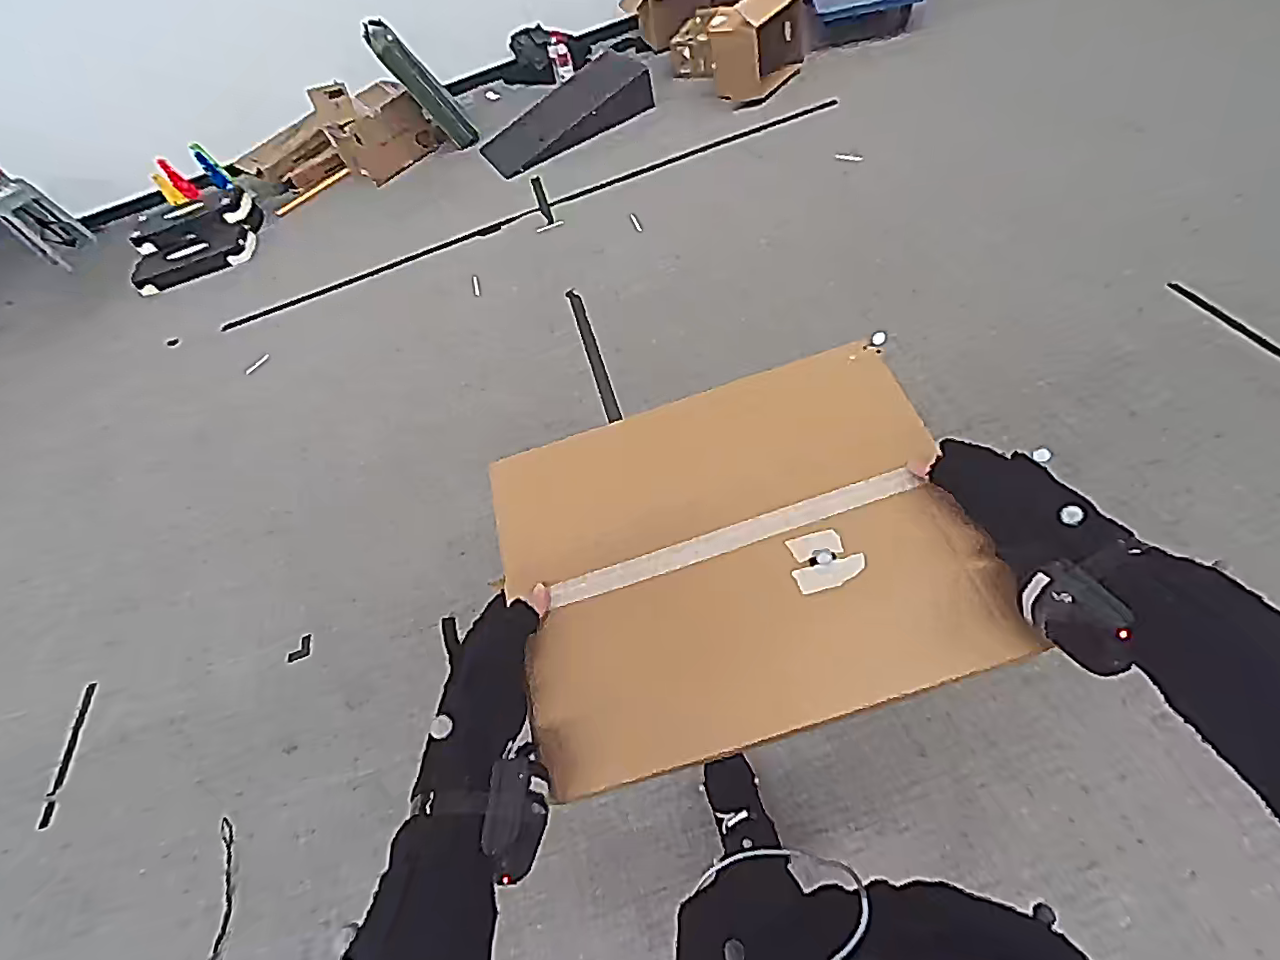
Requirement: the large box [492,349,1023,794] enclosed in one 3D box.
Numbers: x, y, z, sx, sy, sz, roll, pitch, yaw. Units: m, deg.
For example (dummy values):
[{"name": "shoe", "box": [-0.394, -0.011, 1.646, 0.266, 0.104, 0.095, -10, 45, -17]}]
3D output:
[{"name": "large box", "box": [0.097, 0.122, 0.624, 0.408, 0.320, 0.320, -19, 62, 1]}]
